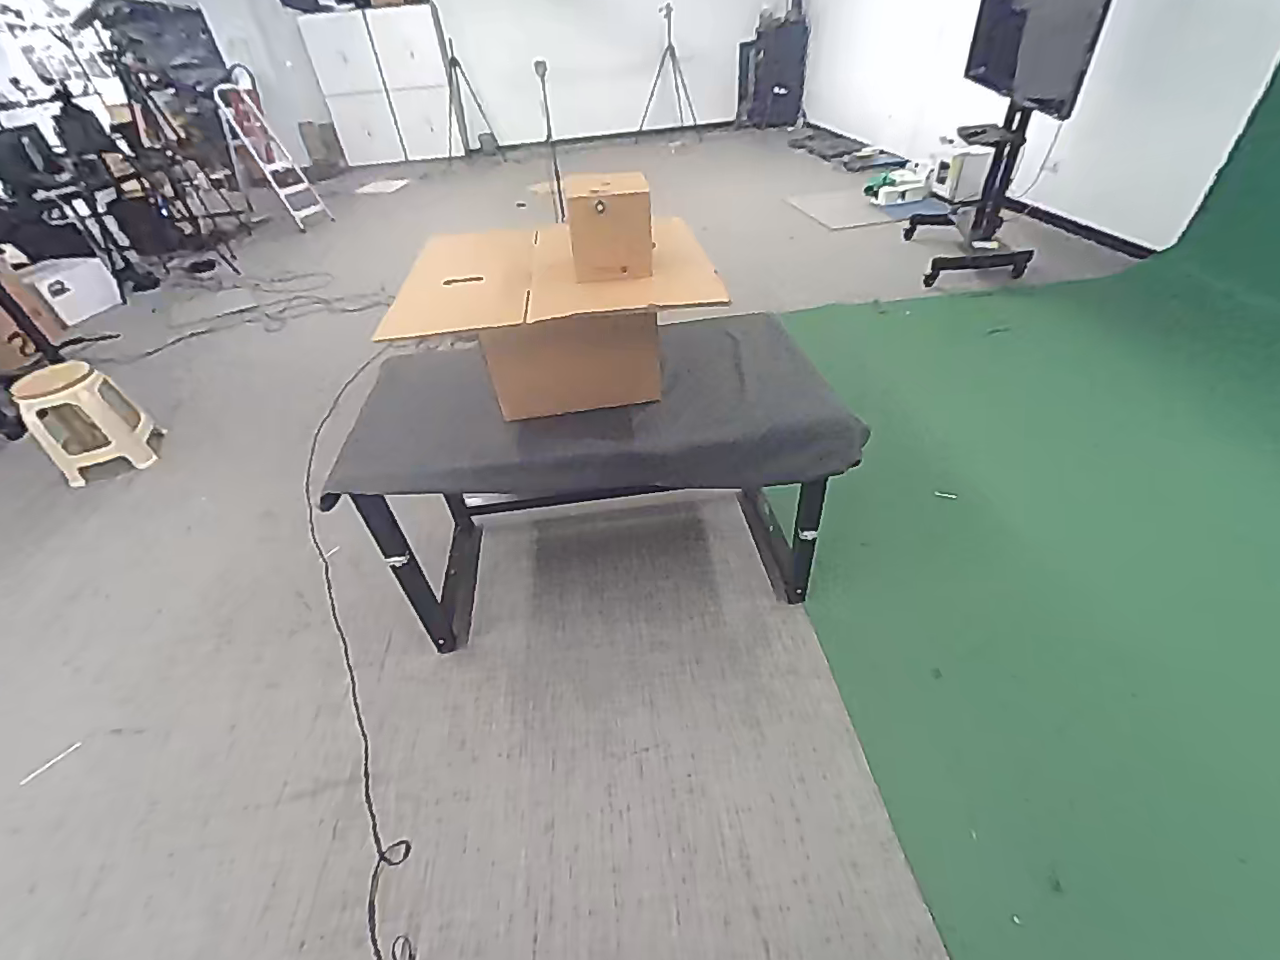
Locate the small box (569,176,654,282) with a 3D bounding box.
[{"bbox_3d":[-0.059,-0.540,1.164,0.168,0.176,0.179,-5,40,-2],"label":"small box"}]
